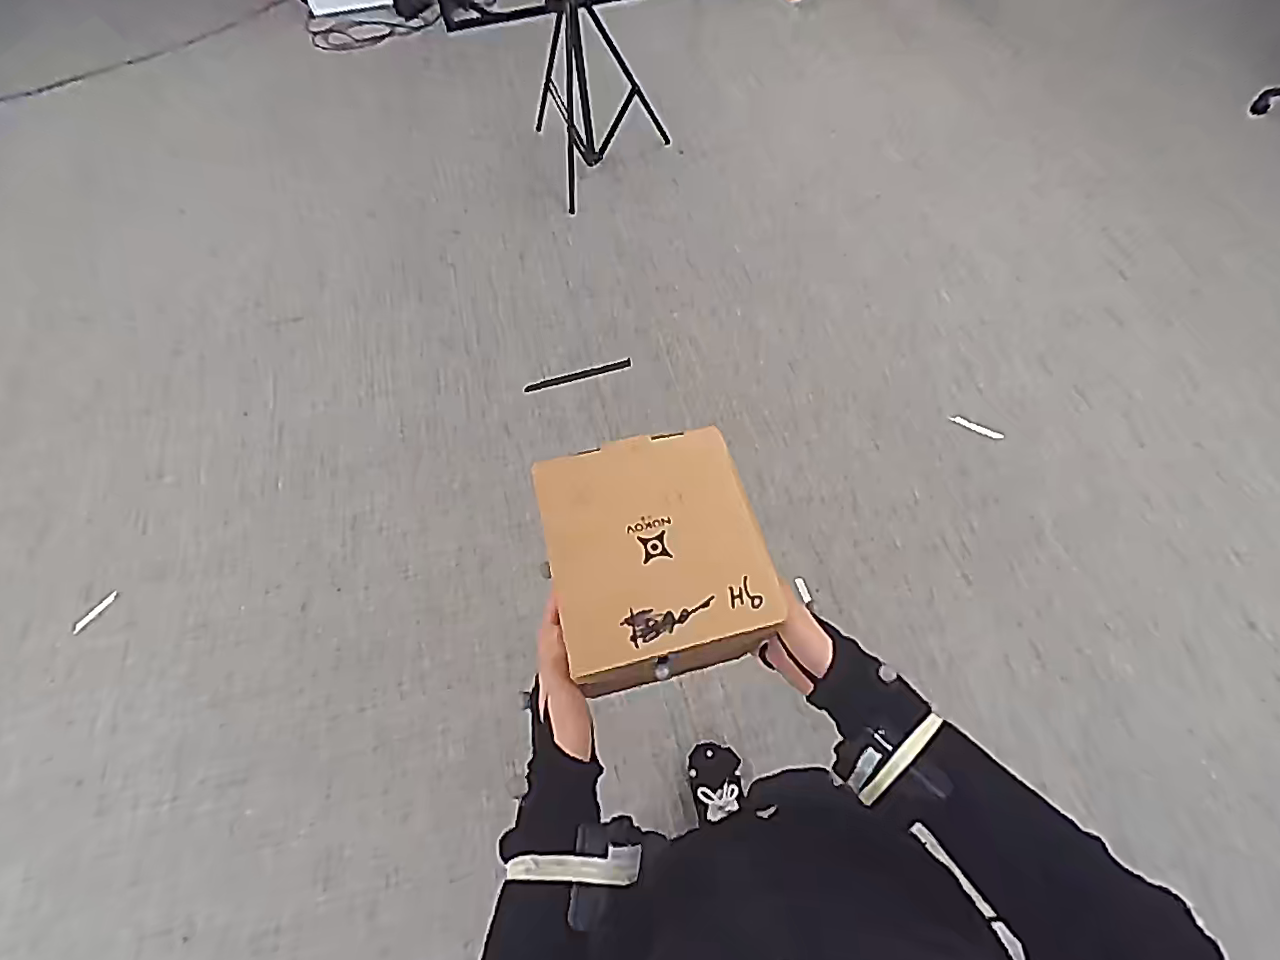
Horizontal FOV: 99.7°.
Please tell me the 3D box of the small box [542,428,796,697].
[{"bbox_3d":[0.012,0.081,0.490,0.168,0.176,0.179,-12,64,-8],"label":"small box"}]
